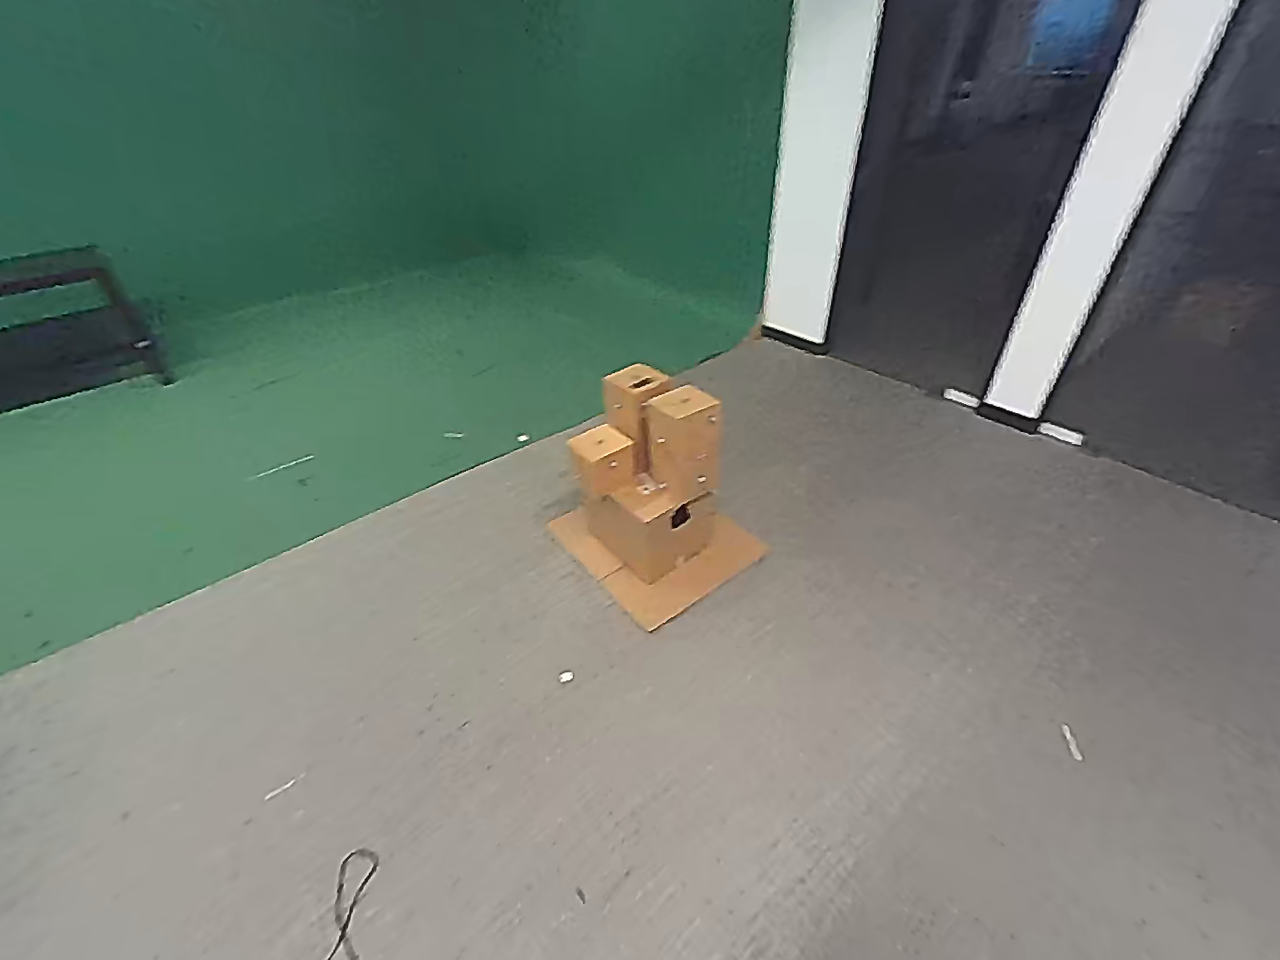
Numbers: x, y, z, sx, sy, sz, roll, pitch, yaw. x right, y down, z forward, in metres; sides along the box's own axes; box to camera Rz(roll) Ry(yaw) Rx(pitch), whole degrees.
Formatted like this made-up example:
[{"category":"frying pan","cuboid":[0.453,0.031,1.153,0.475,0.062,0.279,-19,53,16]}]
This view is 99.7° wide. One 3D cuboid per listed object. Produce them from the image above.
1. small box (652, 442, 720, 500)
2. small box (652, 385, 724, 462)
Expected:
[{"category":"small box","cuboid":[0.159,-0.051,1.867,0.168,0.176,0.179,-25,41,-26]},{"category":"small box","cuboid":[0.153,-0.185,1.767,0.179,0.176,0.168,-24,40,-25]}]
